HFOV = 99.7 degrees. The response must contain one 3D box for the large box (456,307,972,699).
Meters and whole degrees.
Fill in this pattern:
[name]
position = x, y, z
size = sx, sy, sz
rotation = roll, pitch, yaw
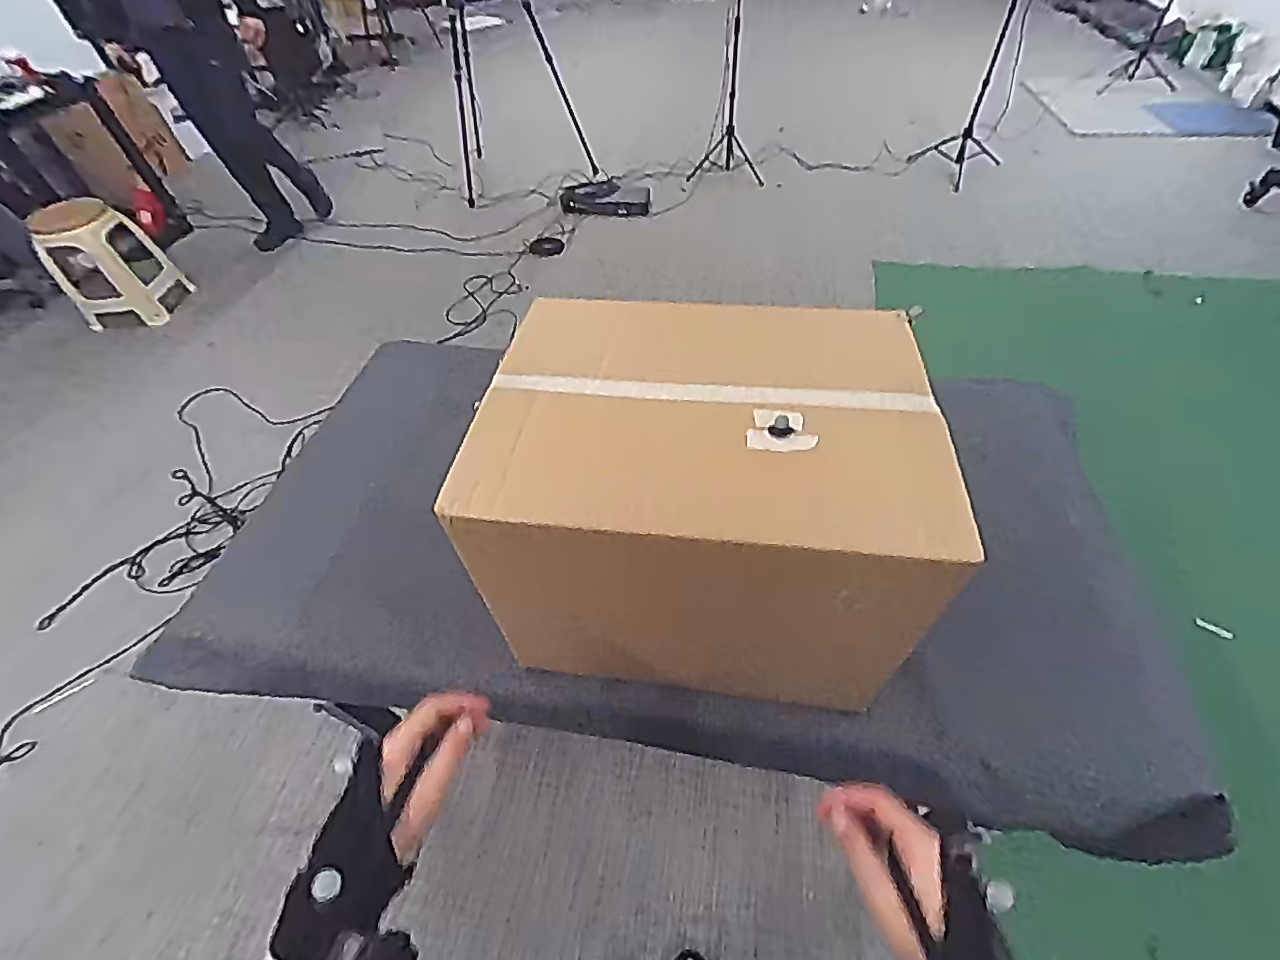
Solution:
[large box]
position = 0.067, 0.026, 0.619
size = 0.408, 0.320, 0.320
rotation = 5, 50, 6
